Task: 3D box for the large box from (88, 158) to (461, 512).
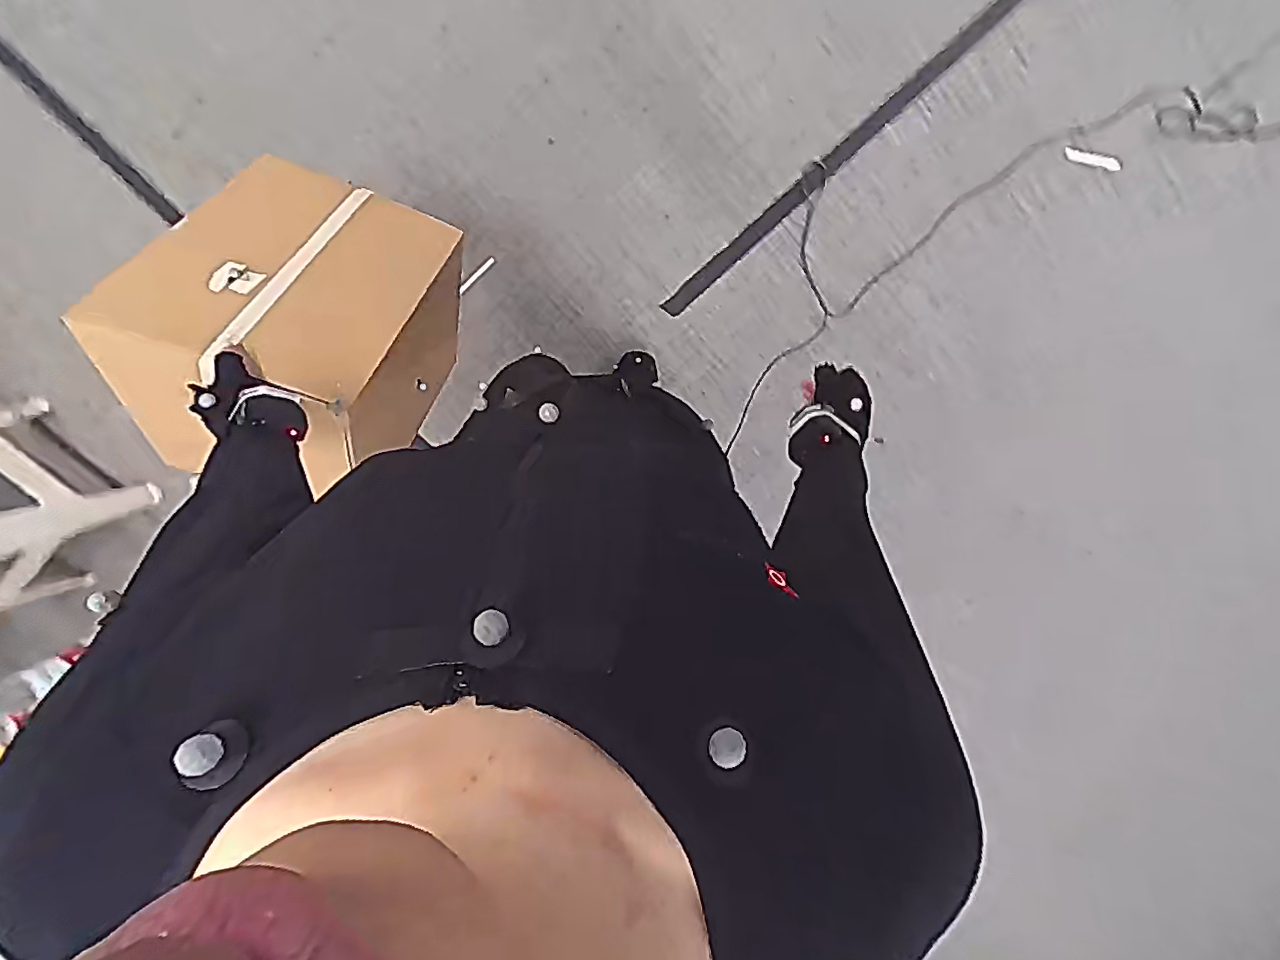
[{"bbox_3d":[-0.516,-0.223,0.881,0.320,0.408,0.320,19,145,-9],"label":"large box"}]
